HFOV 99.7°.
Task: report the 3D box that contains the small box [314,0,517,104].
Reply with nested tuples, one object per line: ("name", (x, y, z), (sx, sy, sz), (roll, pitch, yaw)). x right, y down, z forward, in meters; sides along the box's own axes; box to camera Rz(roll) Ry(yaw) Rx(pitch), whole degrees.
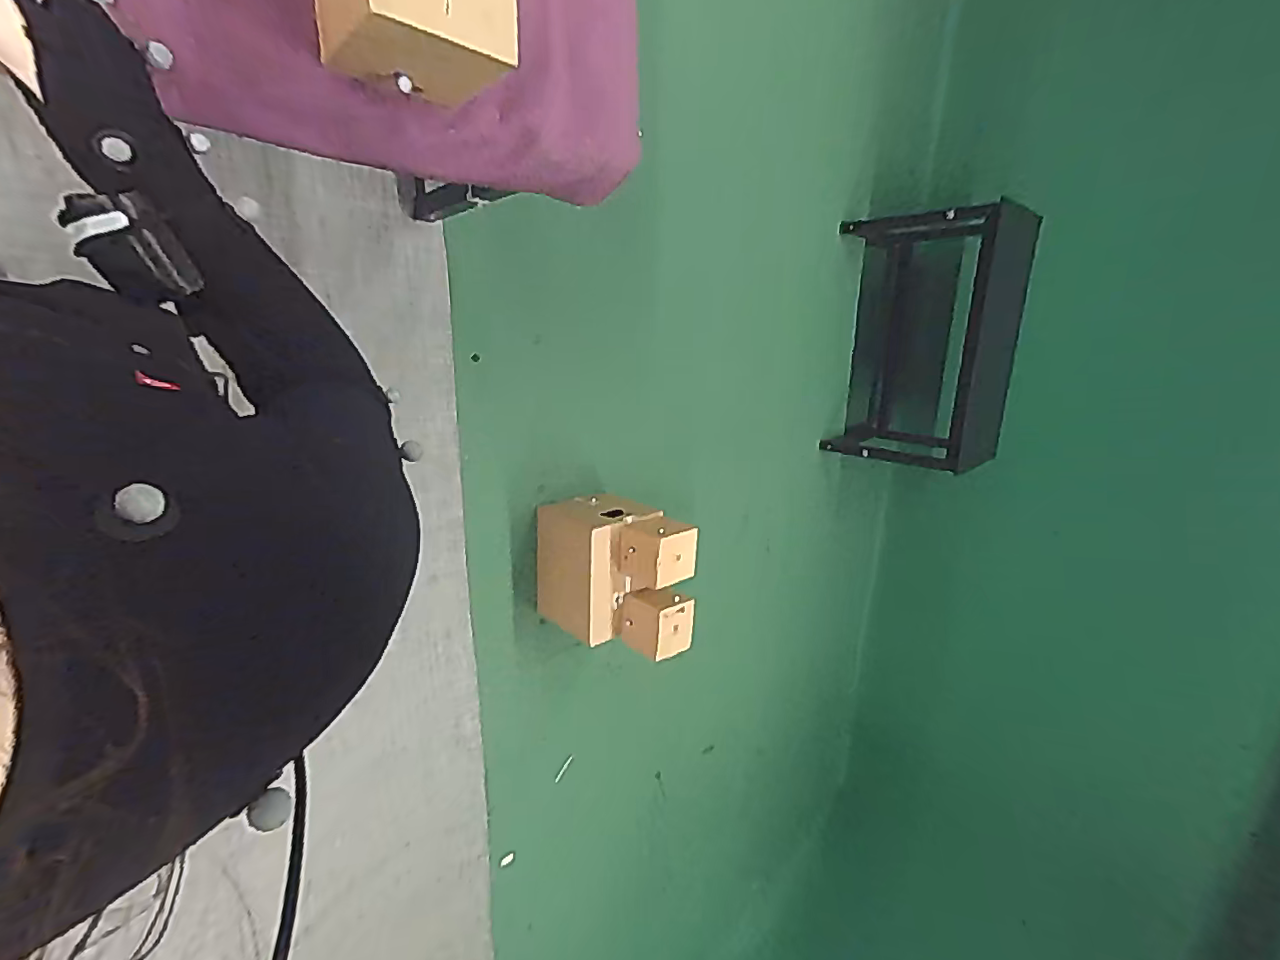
("small box", (-0.253, -0.559, 0.598), (0.168, 0.176, 0.179), (-12, 110, -42))

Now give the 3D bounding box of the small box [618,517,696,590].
("small box", (0.054, 0.226, 1.717), (0.179, 0.176, 0.168), (-11, 110, -42))

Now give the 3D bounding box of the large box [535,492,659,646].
("large box", (-0.153, 0.287, 1.879), (0.320, 0.320, 0.408), (-11, 110, -42))

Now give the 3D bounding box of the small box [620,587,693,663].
("small box", (0.050, 0.467, 1.779), (0.168, 0.176, 0.179), (-5, 105, -44))

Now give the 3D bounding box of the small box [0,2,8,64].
("small box", (-0.476, -0.359, 0.283), (0.168, 0.176, 0.179), (-10, 118, -43))
